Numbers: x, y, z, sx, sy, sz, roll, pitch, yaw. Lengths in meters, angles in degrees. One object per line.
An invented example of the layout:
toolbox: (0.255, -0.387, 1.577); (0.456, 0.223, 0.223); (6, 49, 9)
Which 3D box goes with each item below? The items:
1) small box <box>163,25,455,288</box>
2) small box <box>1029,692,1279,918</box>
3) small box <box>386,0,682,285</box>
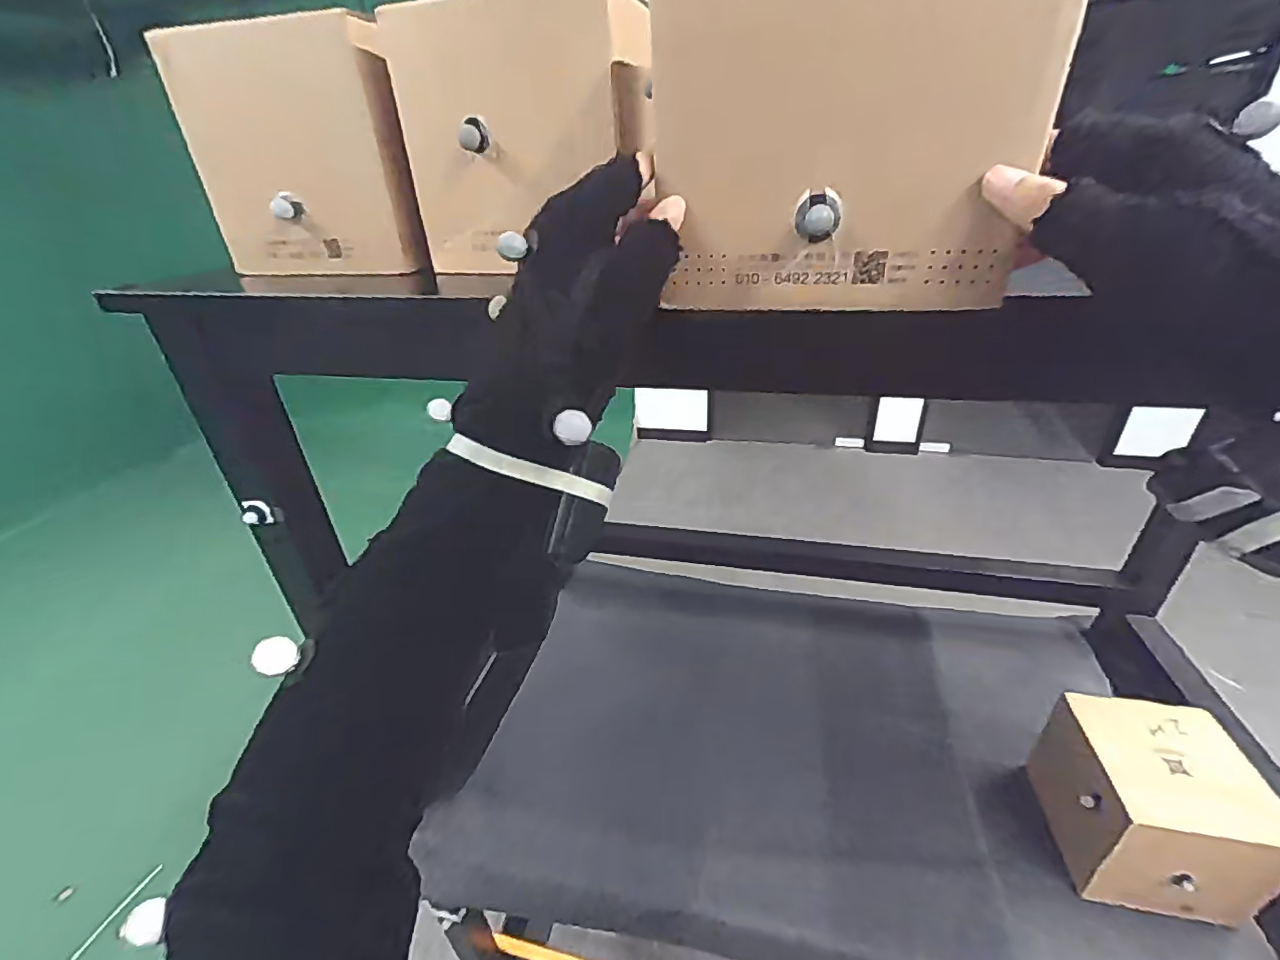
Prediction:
small box: (-0.247, -0.278, 0.484); (0.168, 0.176, 0.179); (4, 32, 12)
small box: (0.632, 0.403, 0.679); (0.168, 0.176, 0.179); (4, 30, 12)
small box: (-0.062, -0.260, 0.441); (0.168, 0.176, 0.179); (7, 31, 17)
